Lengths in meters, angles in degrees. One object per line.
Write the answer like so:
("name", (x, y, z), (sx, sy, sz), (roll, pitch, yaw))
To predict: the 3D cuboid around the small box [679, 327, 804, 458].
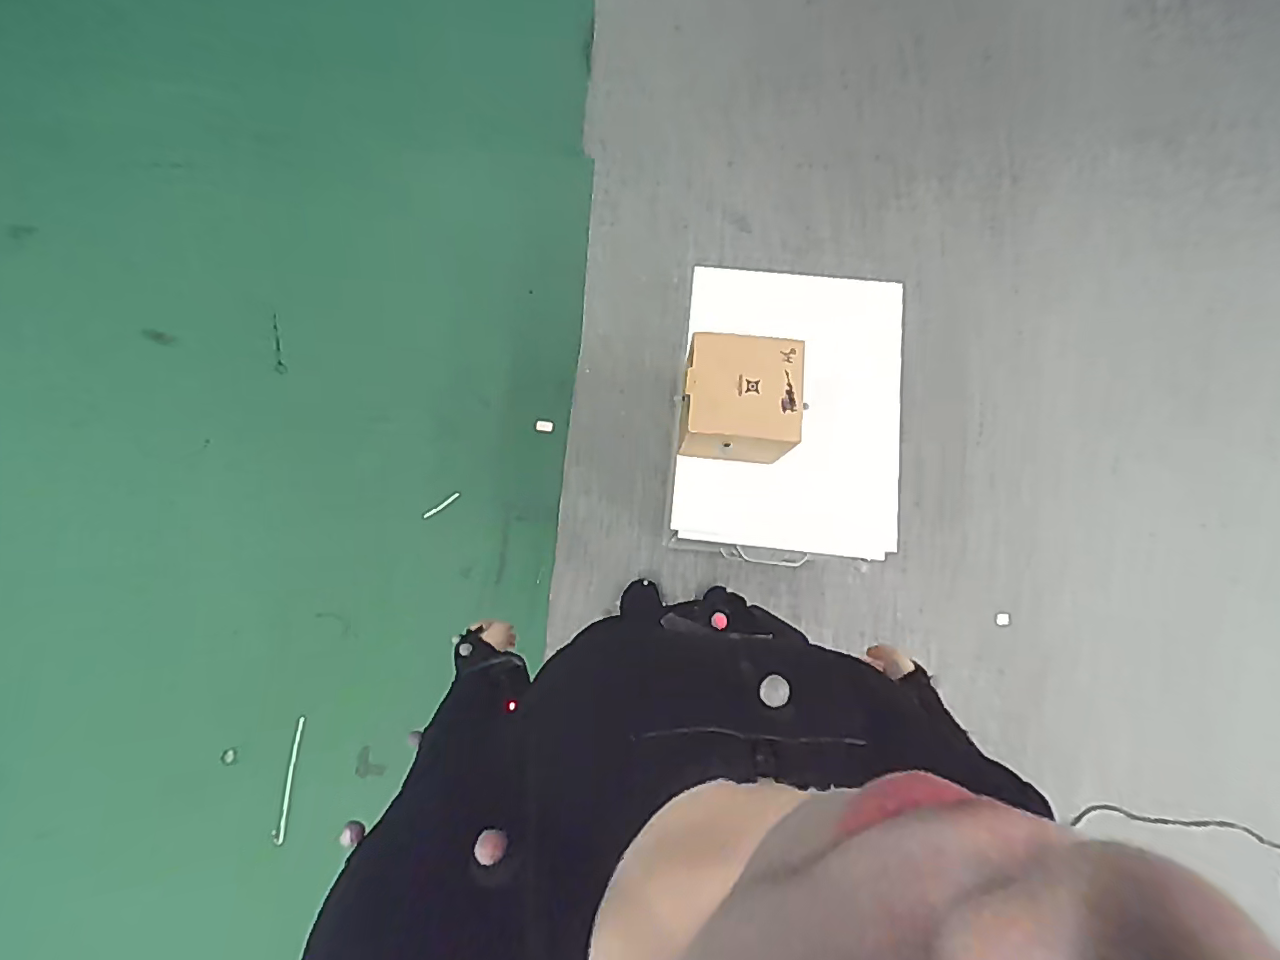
("small box", (0.159, -0.136, 0.895), (0.179, 0.176, 0.168), (5, 81, 1))
